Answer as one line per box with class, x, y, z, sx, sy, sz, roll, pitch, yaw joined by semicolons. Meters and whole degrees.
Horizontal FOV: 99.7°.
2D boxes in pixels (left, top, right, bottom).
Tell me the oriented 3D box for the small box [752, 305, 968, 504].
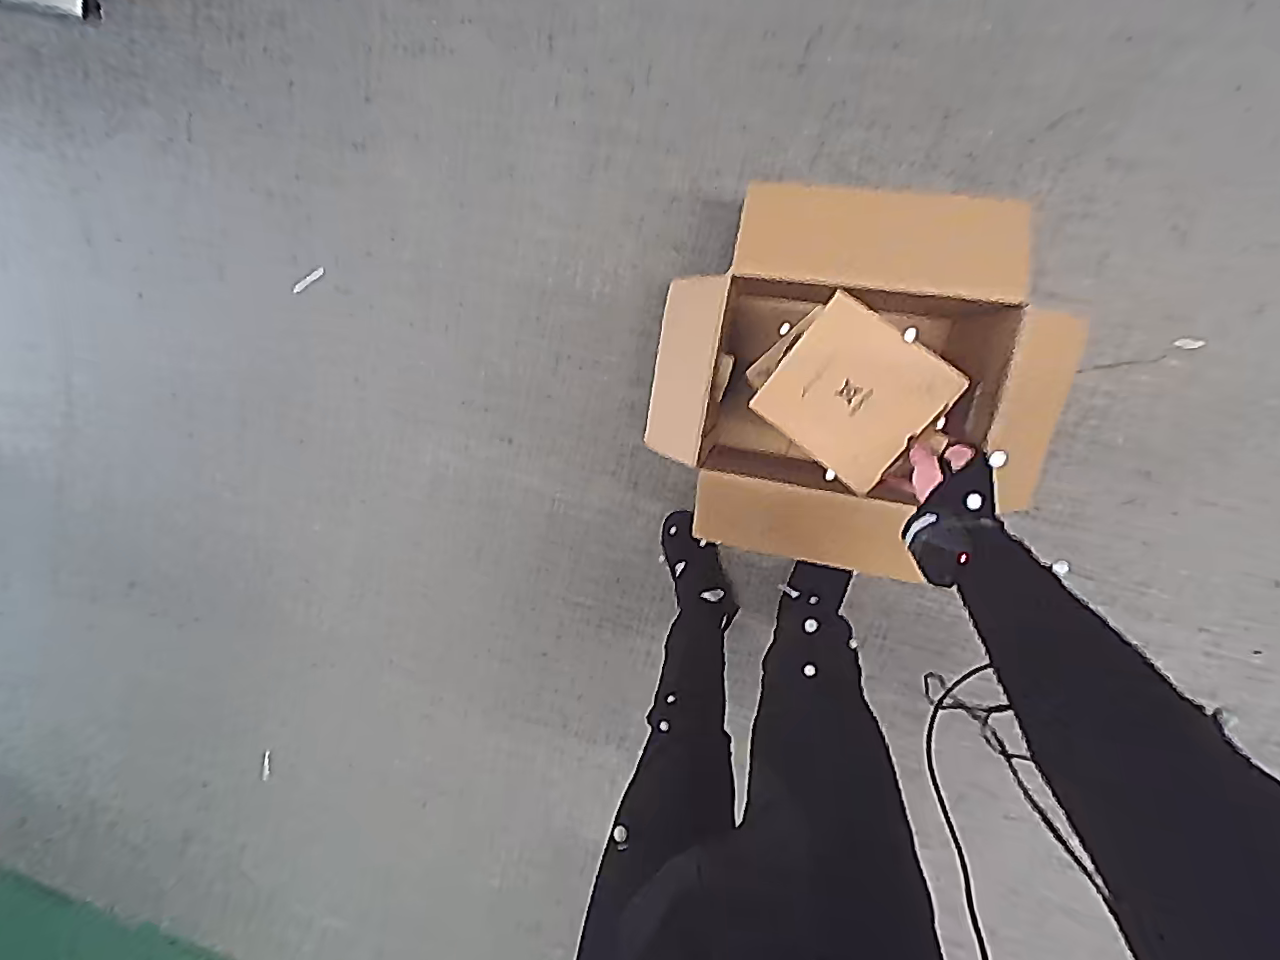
small box;0.275;-0.092;0.695;0.179;0.176;0.168;42;107;15
